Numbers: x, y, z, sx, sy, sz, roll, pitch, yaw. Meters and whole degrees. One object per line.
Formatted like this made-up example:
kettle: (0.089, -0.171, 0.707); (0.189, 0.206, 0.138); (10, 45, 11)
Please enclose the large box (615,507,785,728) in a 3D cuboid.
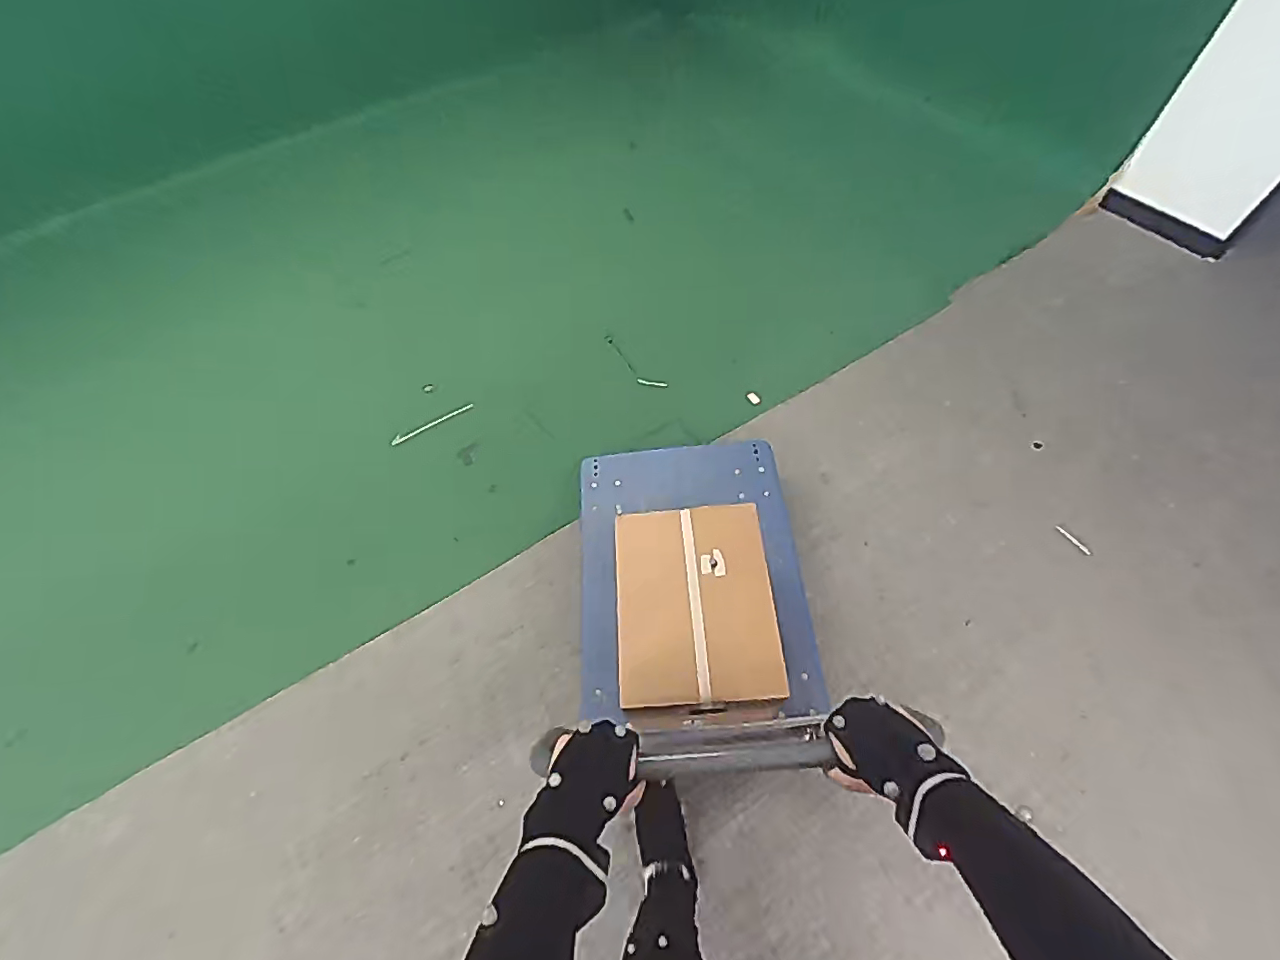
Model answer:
large box: (0.121, 0.321, 1.236); (0.320, 0.320, 0.408); (-5, 58, 2)
